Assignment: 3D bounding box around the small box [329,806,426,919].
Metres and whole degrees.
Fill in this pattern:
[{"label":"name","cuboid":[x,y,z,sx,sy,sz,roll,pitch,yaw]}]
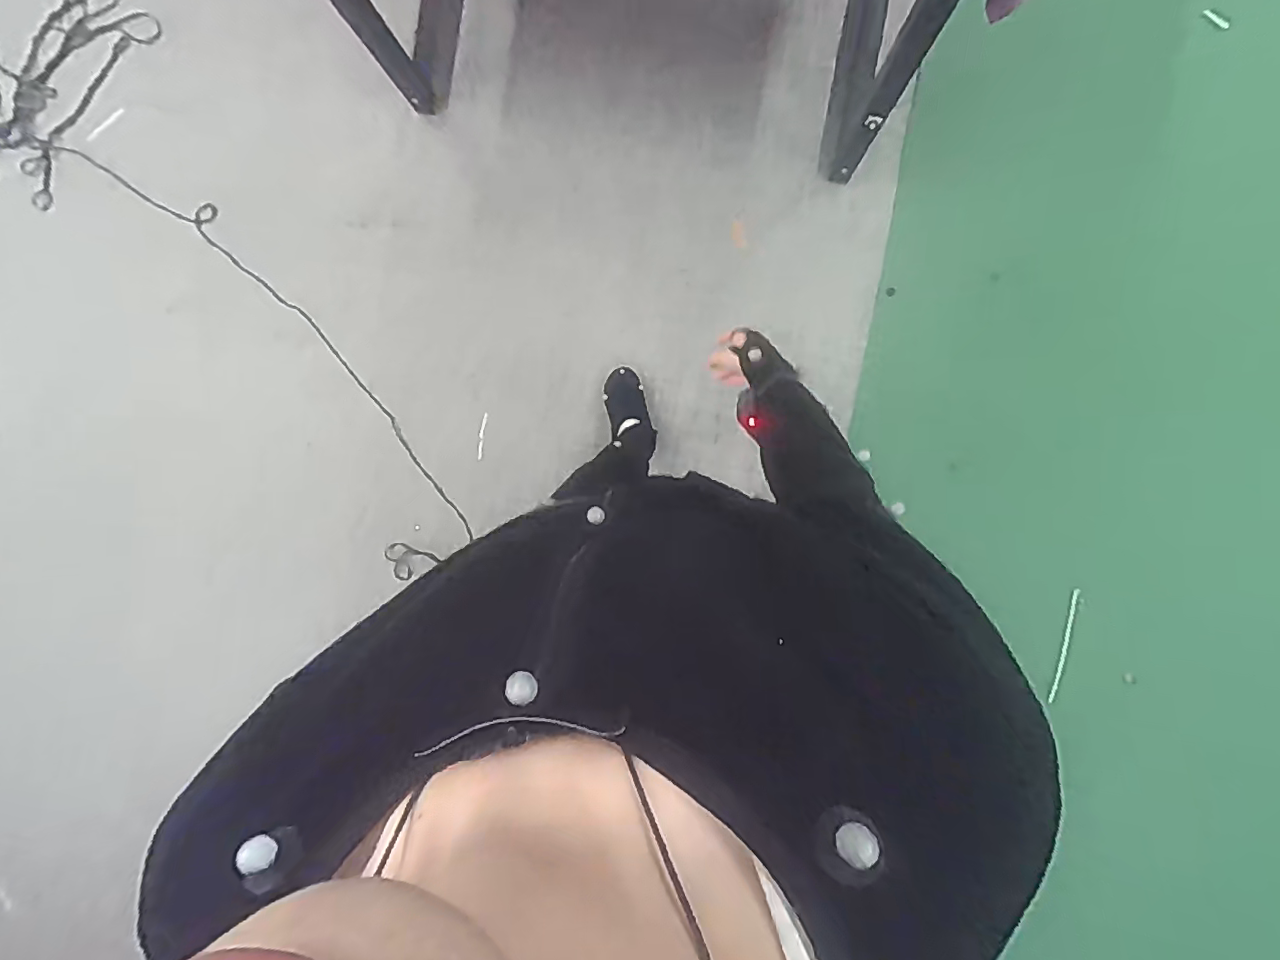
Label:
[{"label":"small box","cuboid":[-0.718,1.048,1.497,0.168,0.176,0.179,14,95,3]}]
